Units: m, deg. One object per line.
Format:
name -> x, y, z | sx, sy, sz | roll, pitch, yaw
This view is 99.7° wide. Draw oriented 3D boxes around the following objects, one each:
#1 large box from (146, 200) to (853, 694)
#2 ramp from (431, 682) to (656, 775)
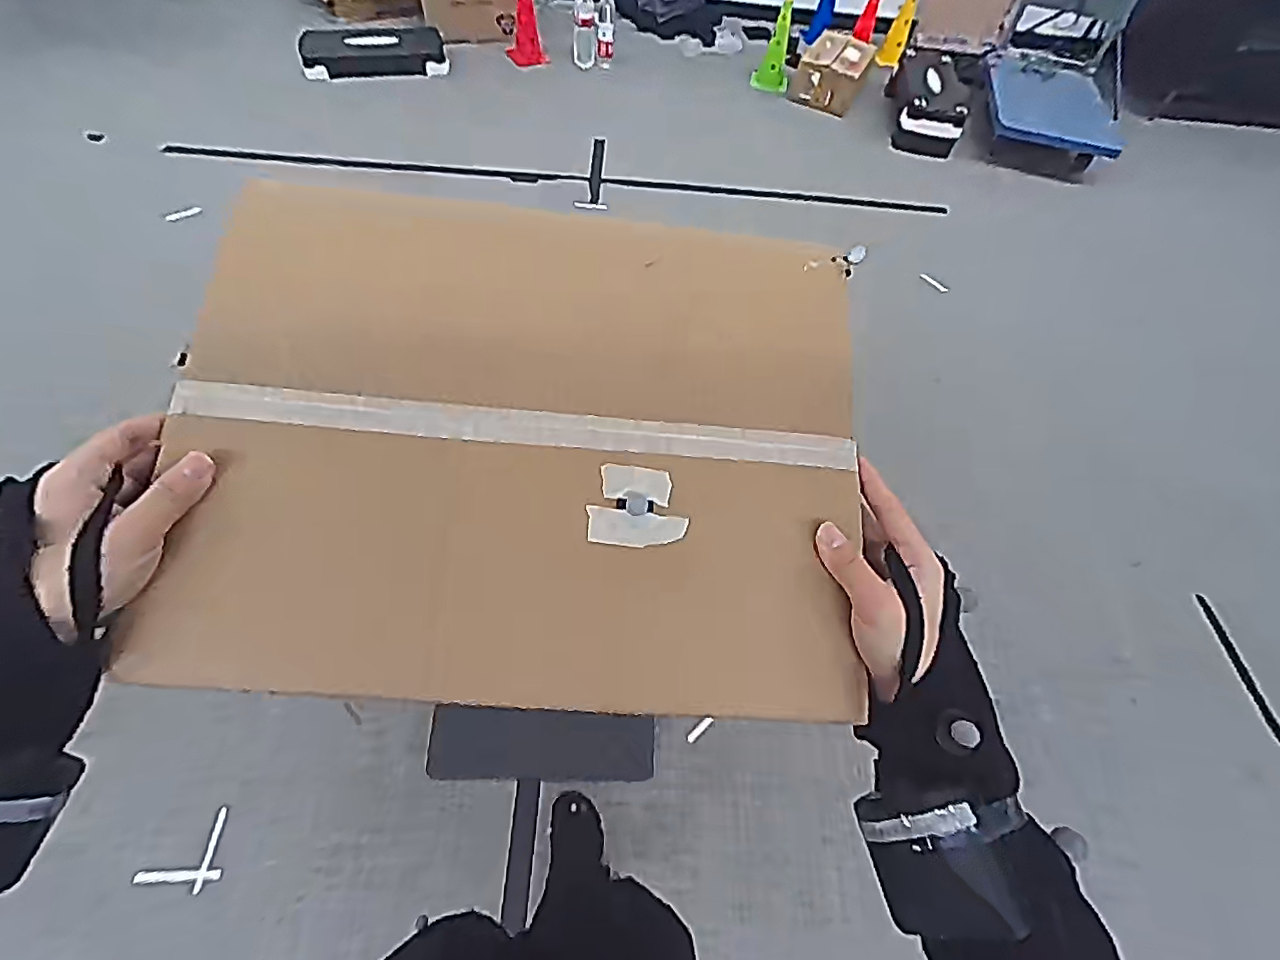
large box -> -0.078, 0.006, 0.488 | 0.408, 0.320, 0.320 | 5, 75, -4
ramp -> -0.195, 0.175, 1.355 | 0.509, 0.206, 0.991 | 2, 59, -5
